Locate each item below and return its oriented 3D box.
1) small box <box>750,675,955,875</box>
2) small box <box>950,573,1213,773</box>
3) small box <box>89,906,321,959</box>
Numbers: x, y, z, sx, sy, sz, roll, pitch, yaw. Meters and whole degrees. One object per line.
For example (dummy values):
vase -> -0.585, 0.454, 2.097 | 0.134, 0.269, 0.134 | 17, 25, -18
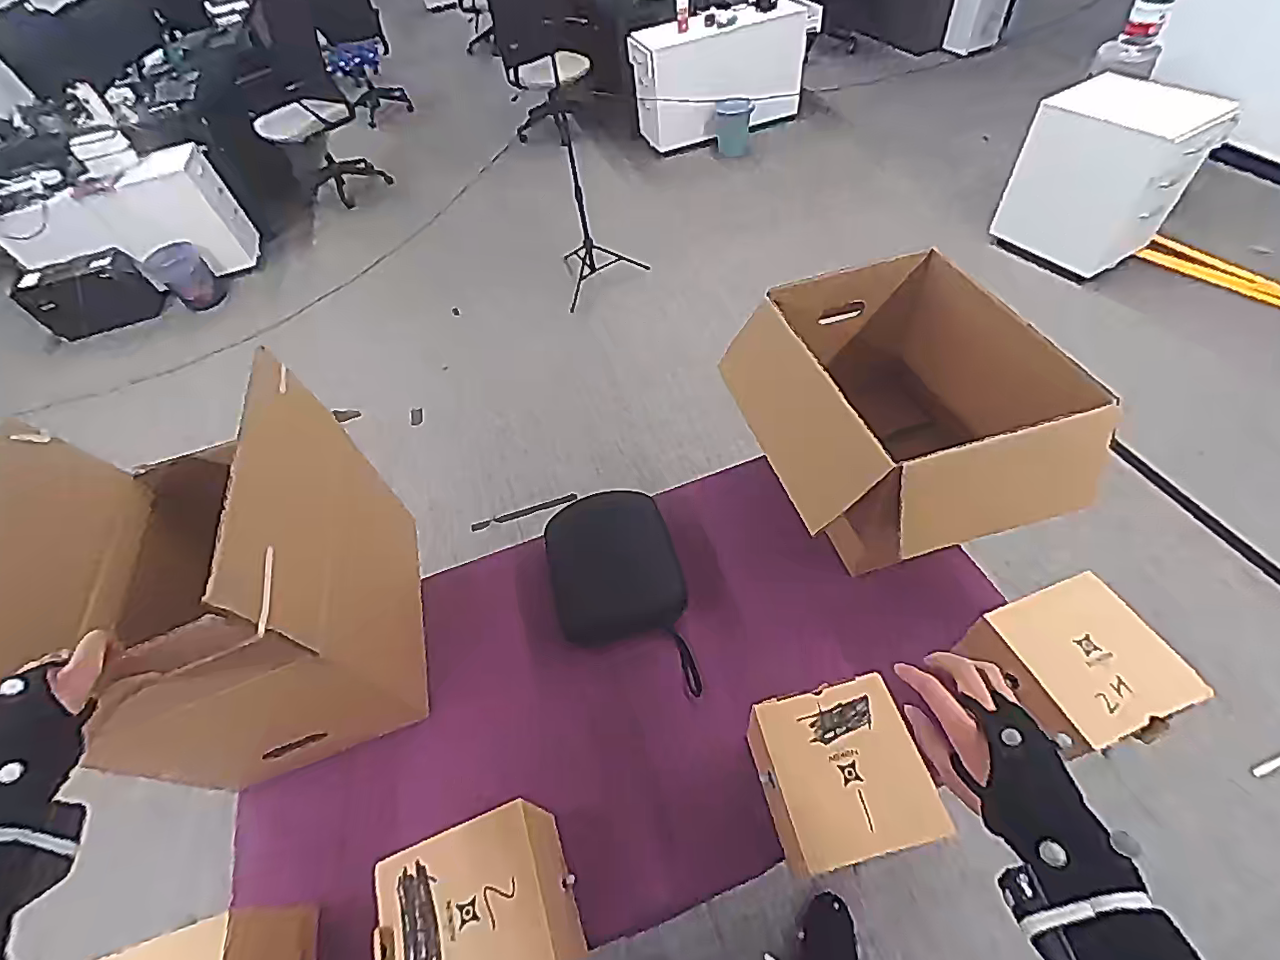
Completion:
small box -> 0.244, 0.372, 0.679 | 0.168, 0.176, 0.179 | -14, 54, -2
small box -> 0.555, 0.258, 0.716 | 0.168, 0.176, 0.179 | -20, 53, -6
small box -> -0.499, 0.611, 0.609 | 0.179, 0.176, 0.168 | -17, 52, -6
